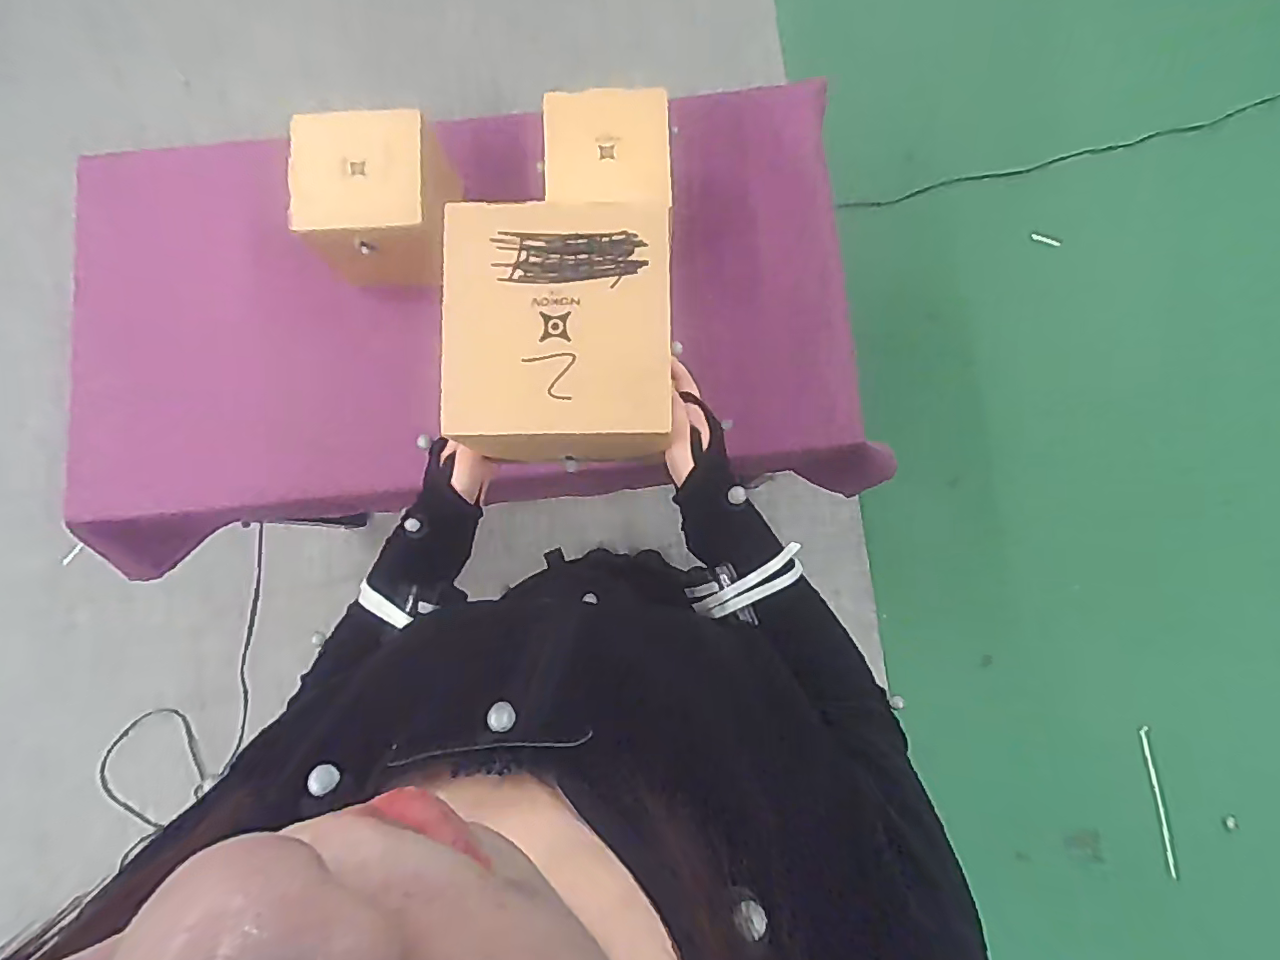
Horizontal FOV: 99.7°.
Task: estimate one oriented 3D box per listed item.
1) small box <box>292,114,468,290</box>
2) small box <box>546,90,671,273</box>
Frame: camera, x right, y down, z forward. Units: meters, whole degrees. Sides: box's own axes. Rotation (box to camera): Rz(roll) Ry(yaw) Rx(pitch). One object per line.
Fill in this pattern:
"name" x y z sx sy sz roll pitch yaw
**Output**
"small box" -0.367 -0.392 0.789 0.179 0.176 0.168 -2 83 0
"small box" -0.039 -0.417 0.785 0.168 0.176 0.179 -2 82 1
